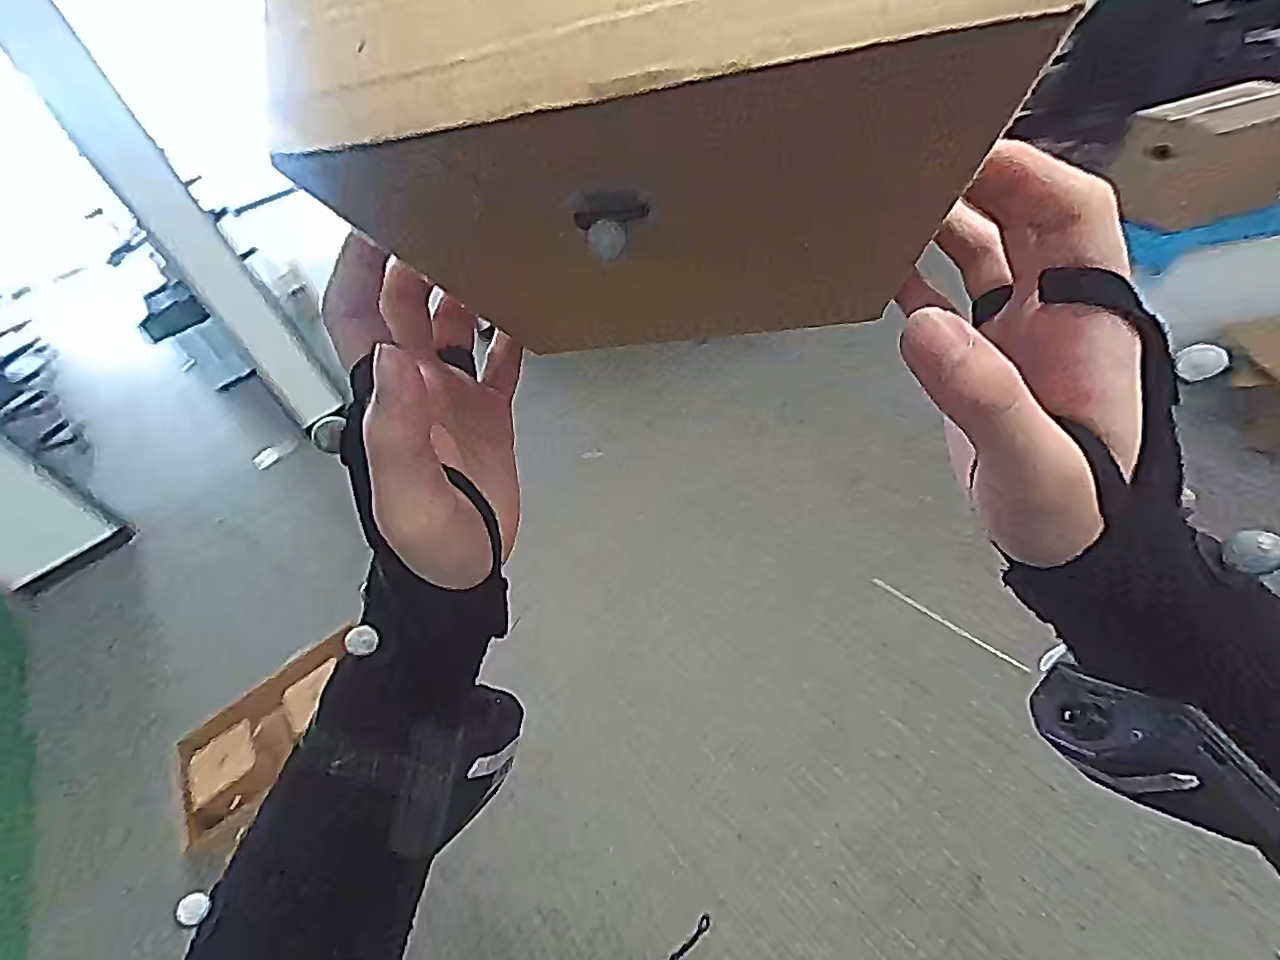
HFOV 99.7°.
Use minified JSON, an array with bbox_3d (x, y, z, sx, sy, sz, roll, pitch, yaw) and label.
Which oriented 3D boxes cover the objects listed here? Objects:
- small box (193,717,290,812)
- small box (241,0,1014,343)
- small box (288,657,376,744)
[{"bbox_3d":[-1.191,0.861,1.622,0.168,0.176,0.179,-35,46,-21],"label":"small box"},{"bbox_3d":[0.002,-0.158,0.198,0.179,0.176,0.168,-3,86,10],"label":"small box"},{"bbox_3d":[-0.975,0.707,1.720,0.168,0.176,0.179,-34,47,-19],"label":"small box"}]
